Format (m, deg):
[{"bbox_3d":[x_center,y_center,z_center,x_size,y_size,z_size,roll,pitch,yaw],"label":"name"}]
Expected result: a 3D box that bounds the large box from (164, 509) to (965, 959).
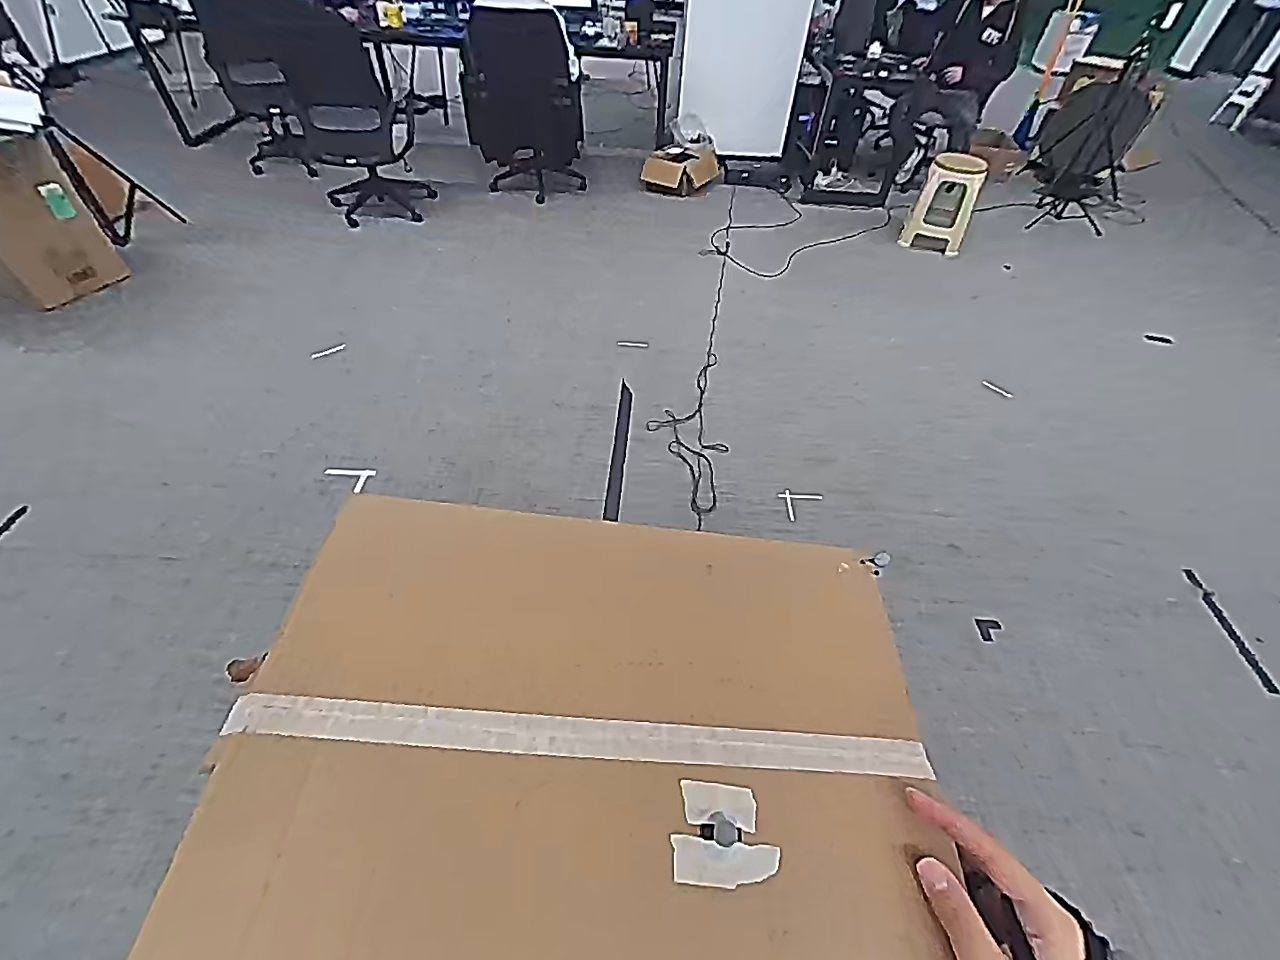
[{"bbox_3d":[-0.043,0.253,0.445,0.408,0.320,0.320,7,51,-6],"label":"large box"}]
